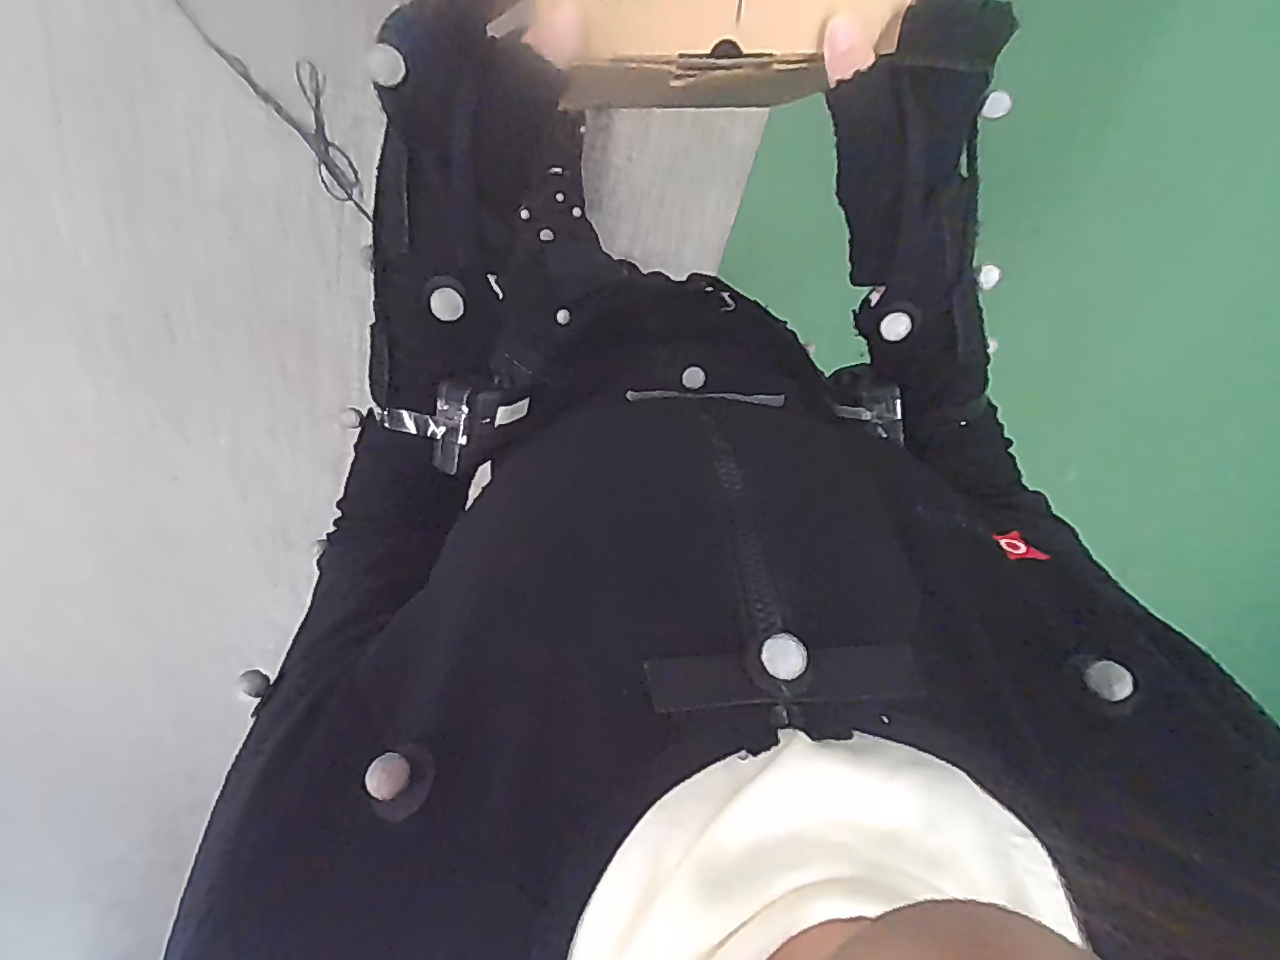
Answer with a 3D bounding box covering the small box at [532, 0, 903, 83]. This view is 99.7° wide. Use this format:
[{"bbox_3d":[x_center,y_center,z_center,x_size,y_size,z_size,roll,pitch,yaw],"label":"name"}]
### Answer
[{"bbox_3d":[0.028,-0.312,0.266,0.168,0.176,0.179,-4,119,-4],"label":"small box"}]
